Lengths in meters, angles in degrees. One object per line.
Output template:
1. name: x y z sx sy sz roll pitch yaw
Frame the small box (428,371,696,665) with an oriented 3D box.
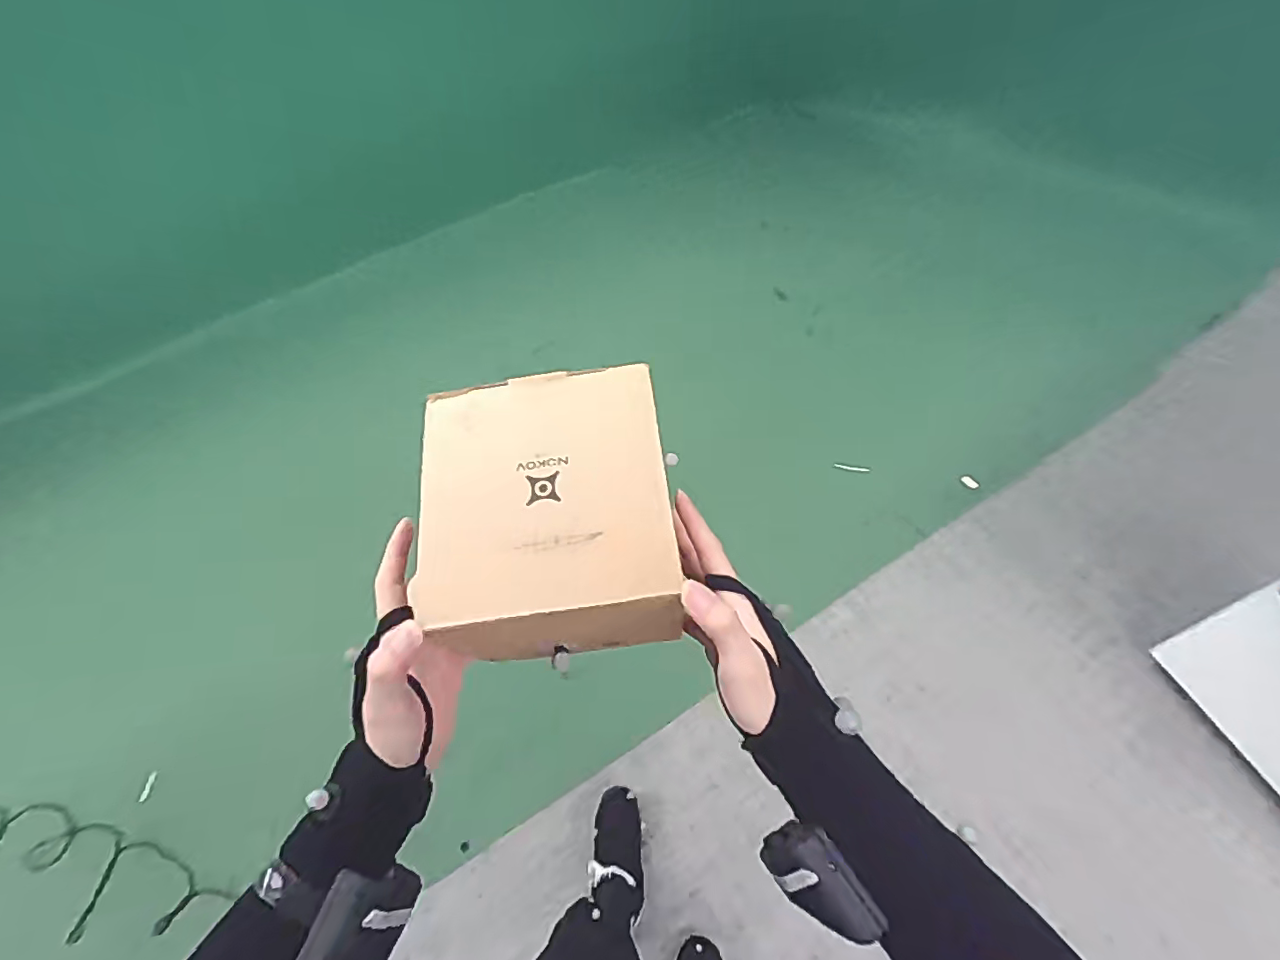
1. small box: -0.051 0.039 0.433 0.168 0.176 0.179 -7 64 1
